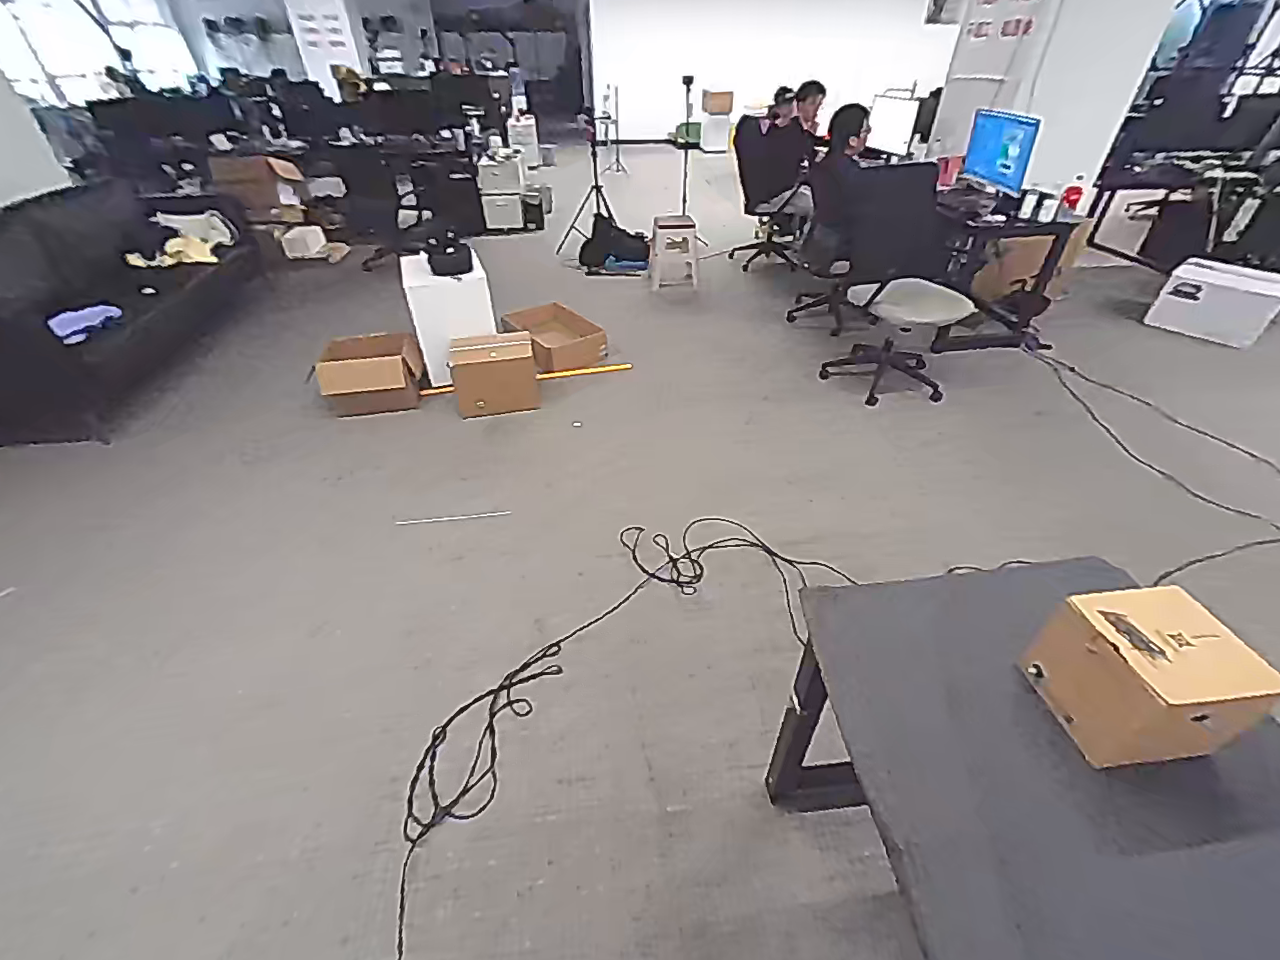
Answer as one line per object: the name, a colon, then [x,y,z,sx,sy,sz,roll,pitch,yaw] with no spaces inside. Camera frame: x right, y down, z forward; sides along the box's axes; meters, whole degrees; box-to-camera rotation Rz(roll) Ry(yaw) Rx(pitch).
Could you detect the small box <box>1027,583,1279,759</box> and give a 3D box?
small box: [0.686,0.267,0.753,0.179,0.176,0.168,-4,39,-5]
